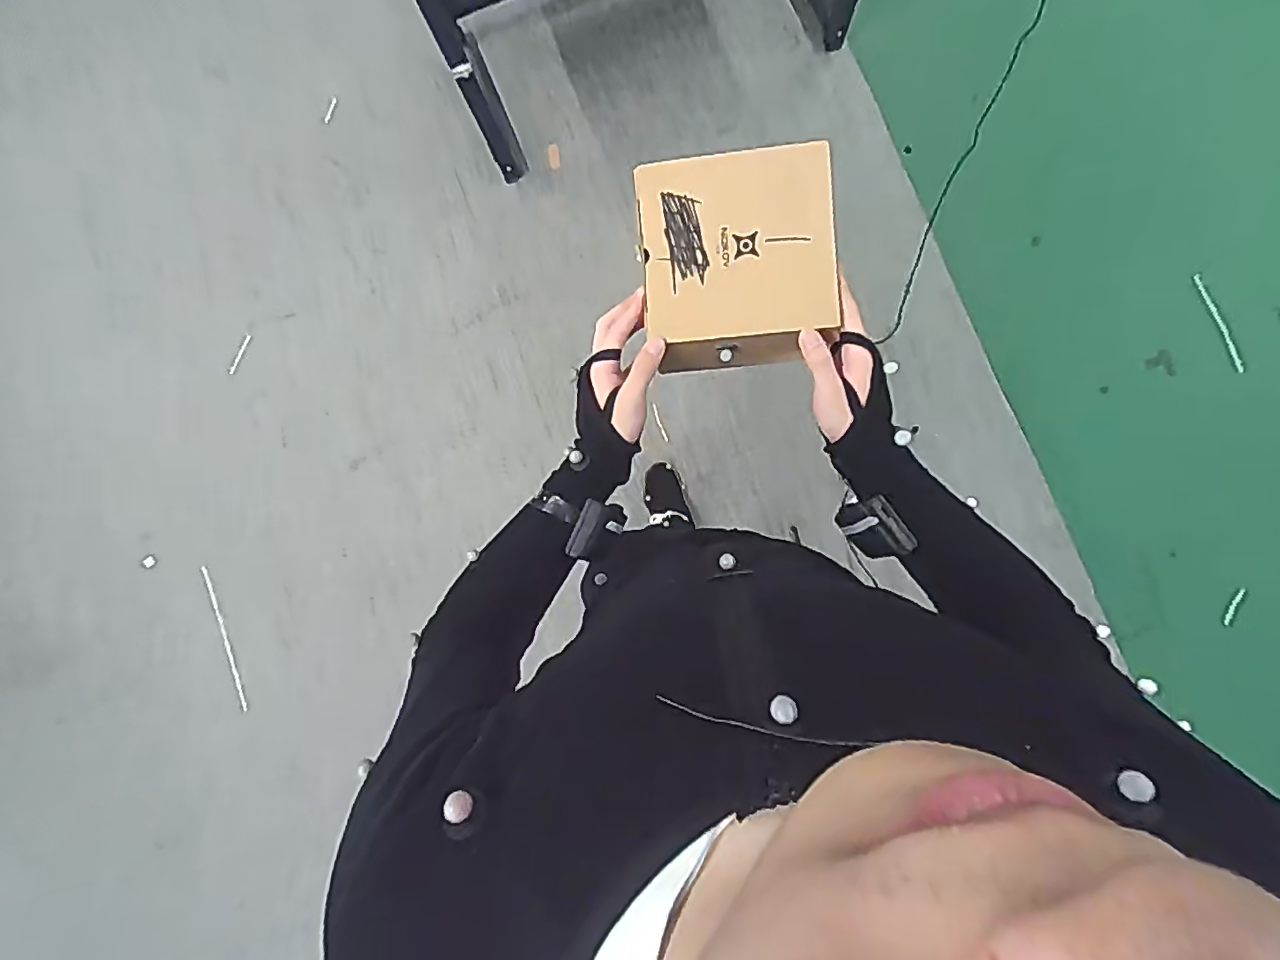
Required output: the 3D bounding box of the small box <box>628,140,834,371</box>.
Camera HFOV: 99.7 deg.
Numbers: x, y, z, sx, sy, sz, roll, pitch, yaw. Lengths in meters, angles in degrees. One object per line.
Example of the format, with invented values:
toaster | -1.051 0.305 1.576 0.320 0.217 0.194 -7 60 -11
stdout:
small box | 0.088 -0.214 0.563 0.179 0.176 0.168 -4 91 5
